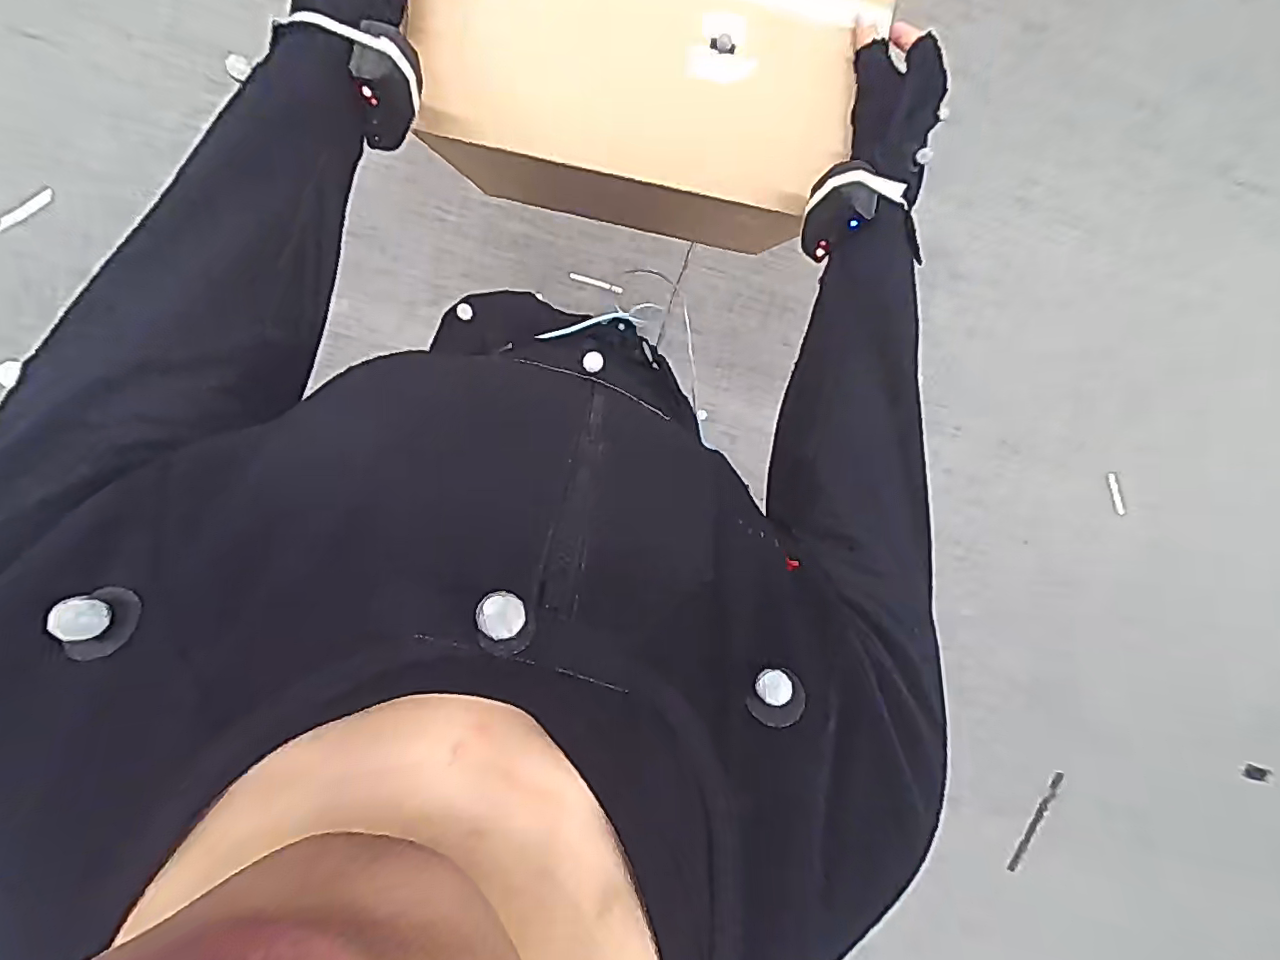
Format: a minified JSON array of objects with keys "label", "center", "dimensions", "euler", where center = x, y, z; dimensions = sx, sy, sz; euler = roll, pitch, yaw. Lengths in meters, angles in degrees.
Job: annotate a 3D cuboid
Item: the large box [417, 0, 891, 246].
[{"label":"large box","center":[0.013,-0.475,0.600],"dimensions":[0.408,0.320,0.320],"euler":[10,108,-5]}]
